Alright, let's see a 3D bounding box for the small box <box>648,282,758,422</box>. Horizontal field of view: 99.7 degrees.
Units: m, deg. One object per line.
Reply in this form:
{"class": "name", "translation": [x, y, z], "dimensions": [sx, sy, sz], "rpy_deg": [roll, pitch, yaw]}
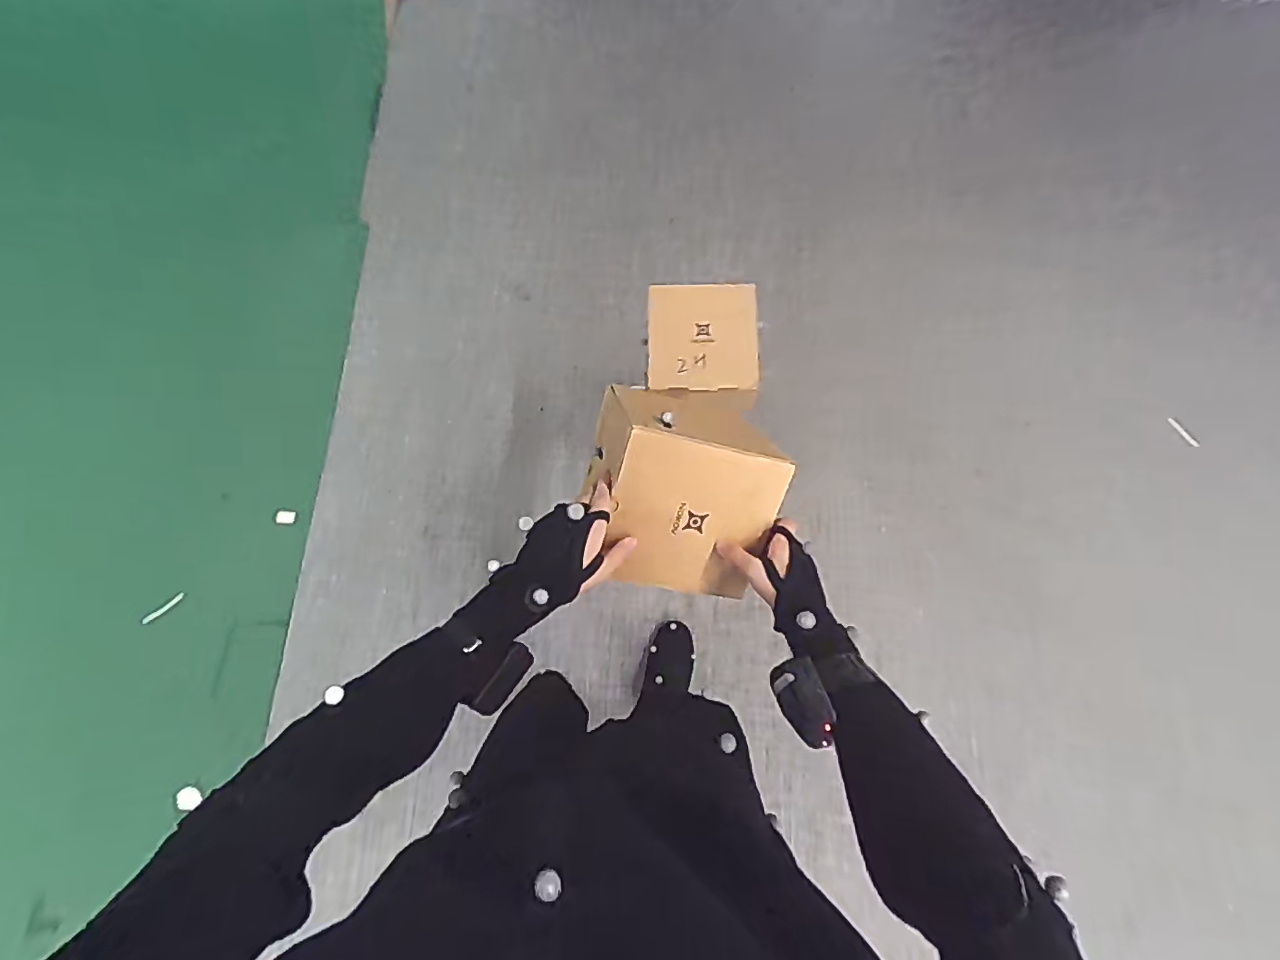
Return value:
{"class": "small box", "translation": [0.097, -0.201, 0.889], "dimensions": [0.168, 0.176, 0.179], "rpy_deg": [1, 77, 3]}

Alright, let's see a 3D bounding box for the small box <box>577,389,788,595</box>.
{"class": "small box", "translation": [0.032, 0.007, 0.613], "dimensions": [0.179, 0.176, 0.168], "rpy_deg": [11, 110, -14]}
